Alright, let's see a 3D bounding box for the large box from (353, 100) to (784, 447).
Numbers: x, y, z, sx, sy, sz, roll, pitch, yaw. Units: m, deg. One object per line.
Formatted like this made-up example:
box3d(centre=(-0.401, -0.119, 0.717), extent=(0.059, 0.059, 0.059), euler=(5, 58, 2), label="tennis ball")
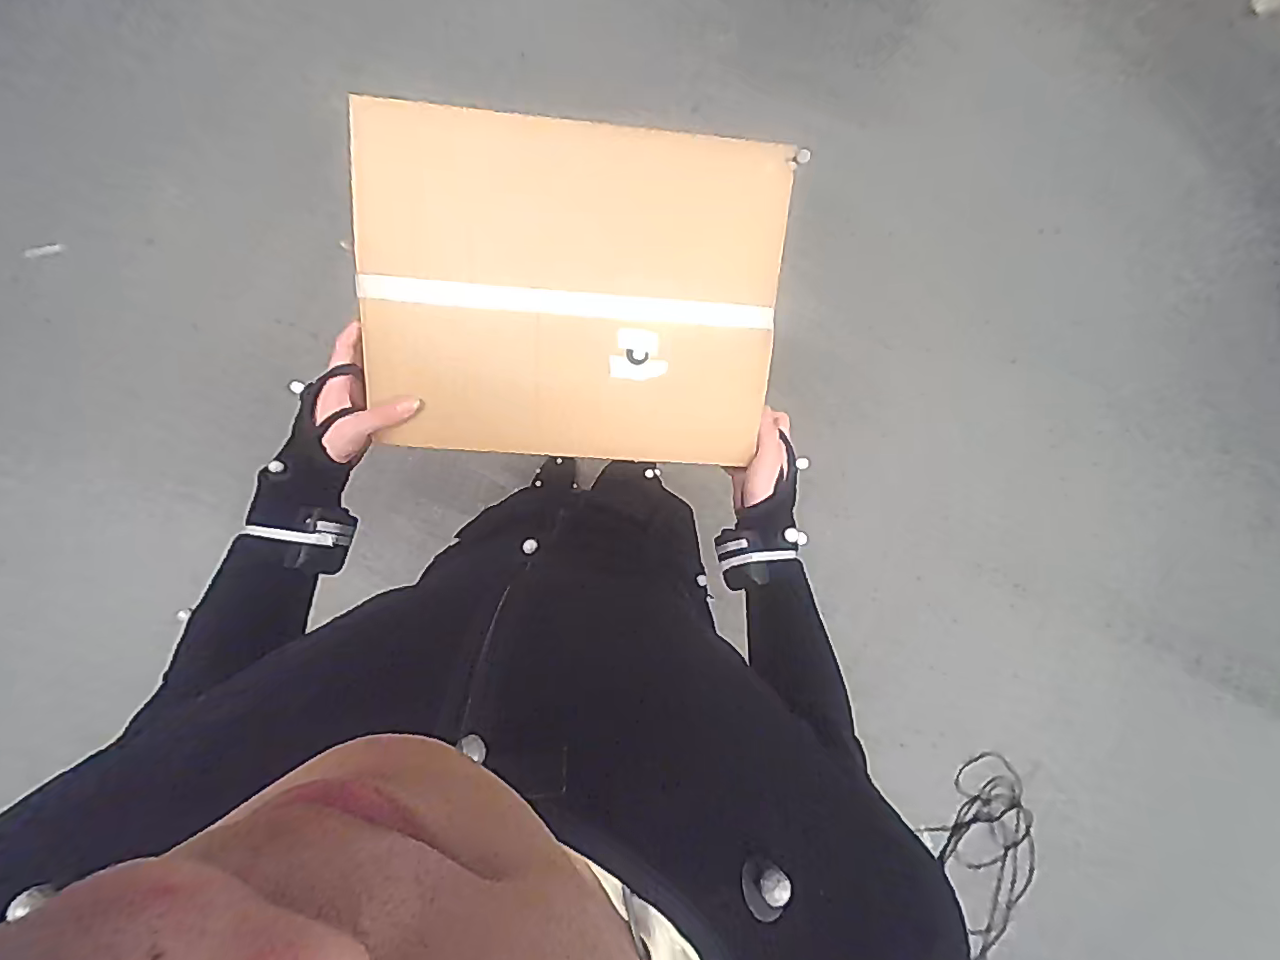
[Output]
box3d(centre=(-0.080, -0.227, 0.680), extent=(0.408, 0.320, 0.320), euler=(2, 107, -6), label="large box")
